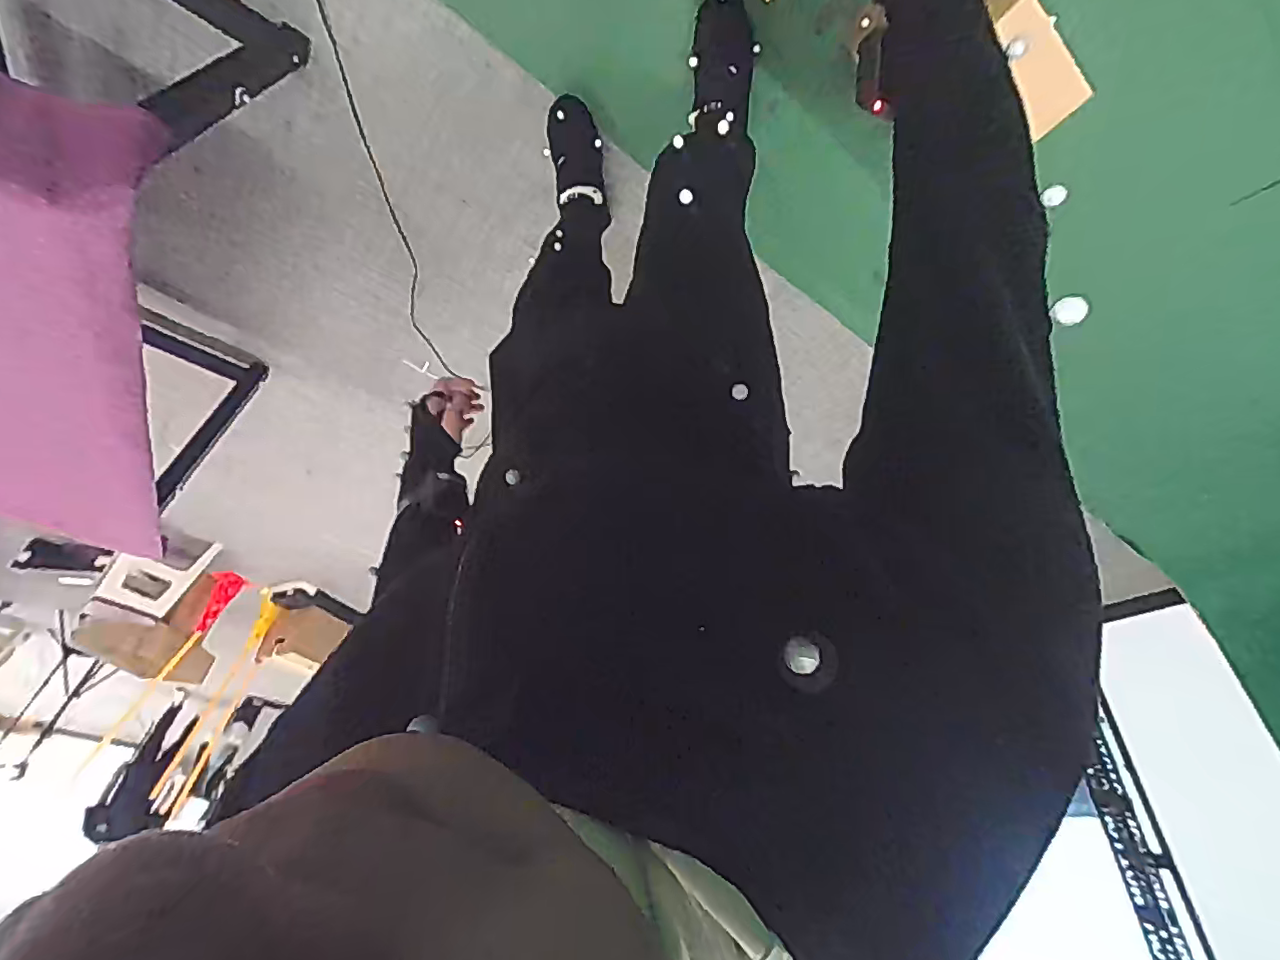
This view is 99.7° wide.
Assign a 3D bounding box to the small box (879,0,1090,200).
[{"bbox_3d":[0.463,-0.546,0.752,0.168,0.176,0.179,29,138,-25],"label":"small box"}]

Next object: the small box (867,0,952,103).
[{"bbox_3d":[0.481,-0.675,0.854,0.168,0.176,0.179,27,140,-25],"label":"small box"}]
